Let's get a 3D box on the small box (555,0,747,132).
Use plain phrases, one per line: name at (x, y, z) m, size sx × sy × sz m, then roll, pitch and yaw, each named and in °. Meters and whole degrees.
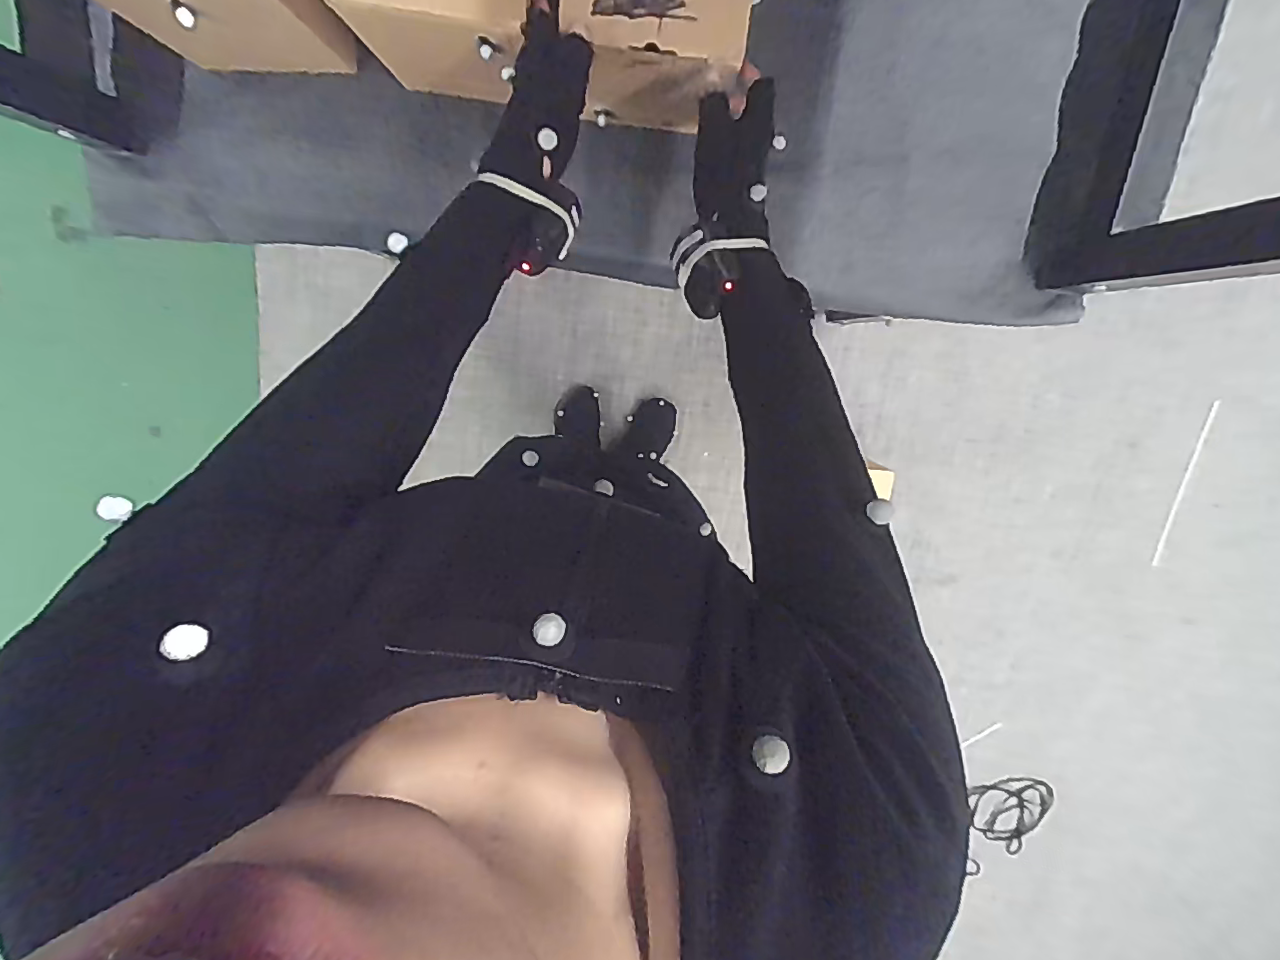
small box at (0.017, -0.470, 0.528) m, size 0.168 × 0.176 × 0.179 m, roll 6°, pitch 103°, yaw -2°
